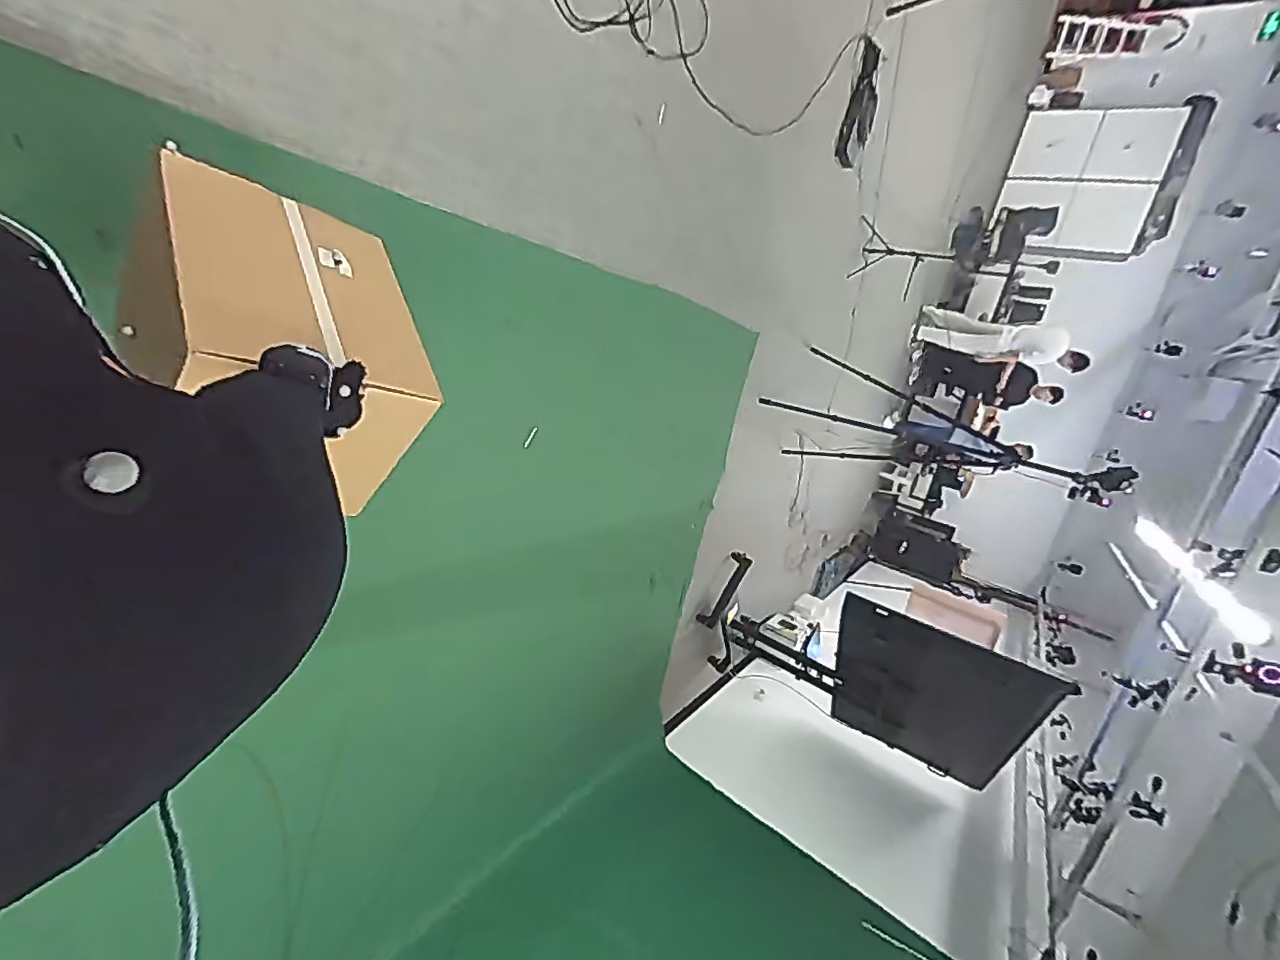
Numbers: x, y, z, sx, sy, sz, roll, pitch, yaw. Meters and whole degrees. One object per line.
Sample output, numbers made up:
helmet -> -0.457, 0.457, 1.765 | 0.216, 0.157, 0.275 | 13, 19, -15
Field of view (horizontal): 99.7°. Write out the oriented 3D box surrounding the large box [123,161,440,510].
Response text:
large box -> -0.588, -0.197, 0.871 | 0.320, 0.408, 0.320 | -42, 153, 27
